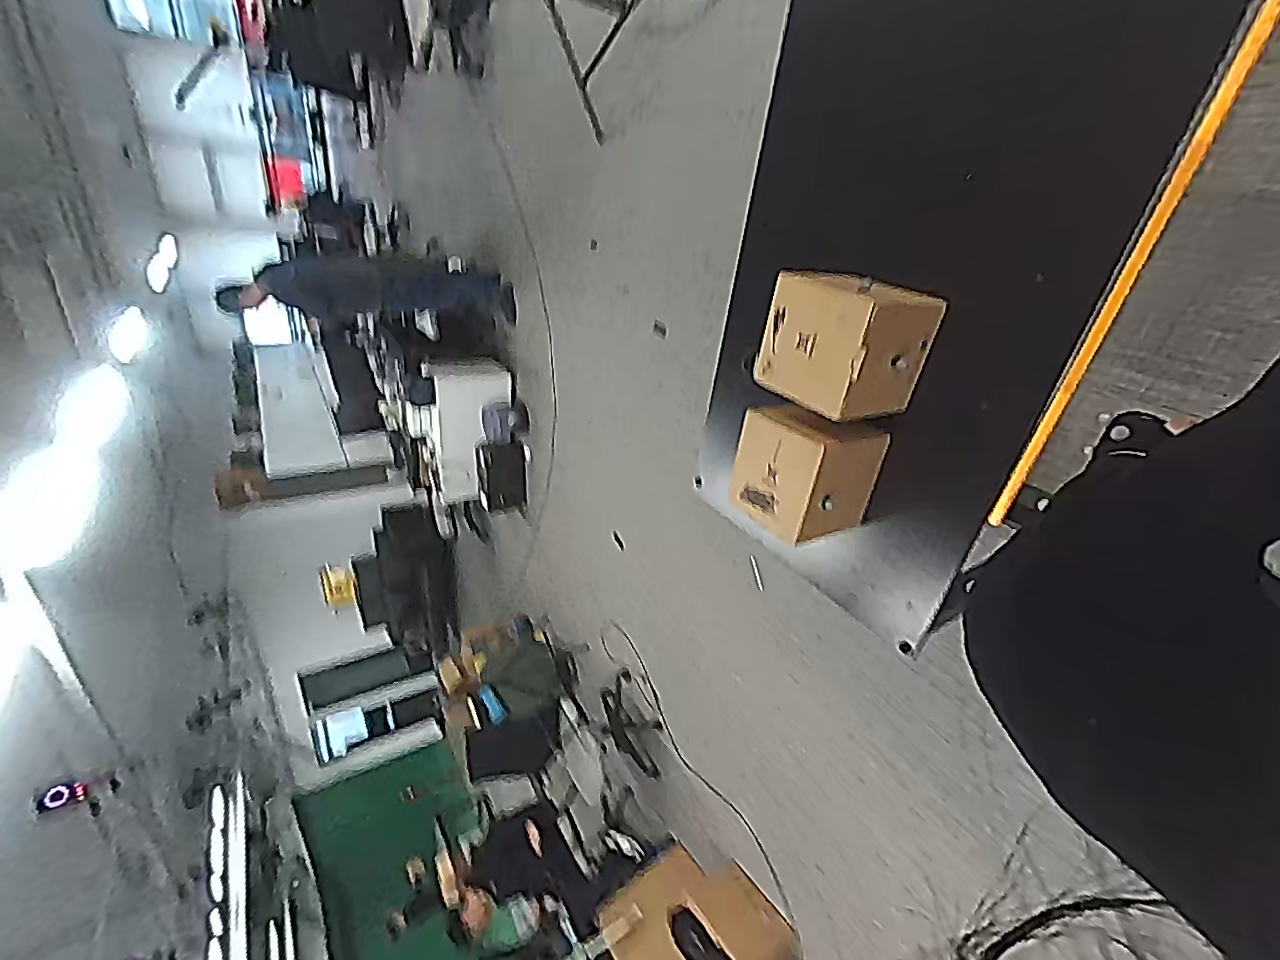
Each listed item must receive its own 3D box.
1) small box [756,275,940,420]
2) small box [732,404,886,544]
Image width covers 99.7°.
[{"bbox_3d":[0.312,-0.207,0.821,0.179,0.176,0.168,41,131,44],"label":"small box"},{"bbox_3d":[0.285,-0.019,0.921,0.168,0.176,0.179,38,129,46],"label":"small box"}]
